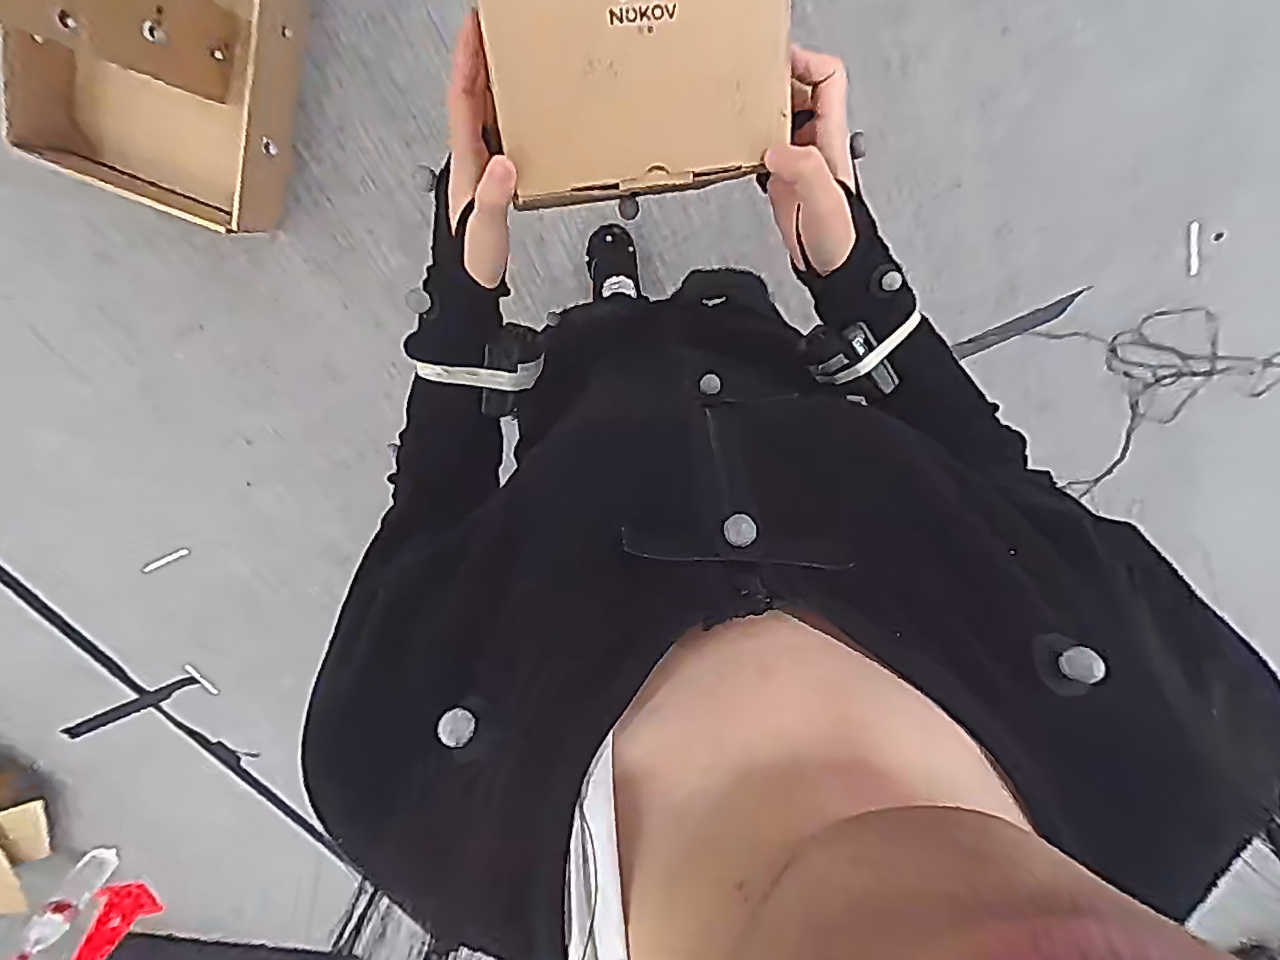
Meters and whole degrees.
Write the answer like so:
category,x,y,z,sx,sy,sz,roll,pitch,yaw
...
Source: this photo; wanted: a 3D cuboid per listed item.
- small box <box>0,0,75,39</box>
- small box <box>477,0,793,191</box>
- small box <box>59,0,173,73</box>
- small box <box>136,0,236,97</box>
category,x,y,z,sx,sy,sz,roll,pitch,yaw
small box,-0.873,-0.704,0.683,0.179,0.176,0.168,20,112,-11
small box,-0.015,-0.289,0.342,0.168,0.176,0.179,-12,117,-8
small box,-0.879,-0.771,0.834,0.179,0.176,0.168,20,112,-13
small box,-0.889,-0.835,0.982,0.179,0.176,0.168,21,111,-13
